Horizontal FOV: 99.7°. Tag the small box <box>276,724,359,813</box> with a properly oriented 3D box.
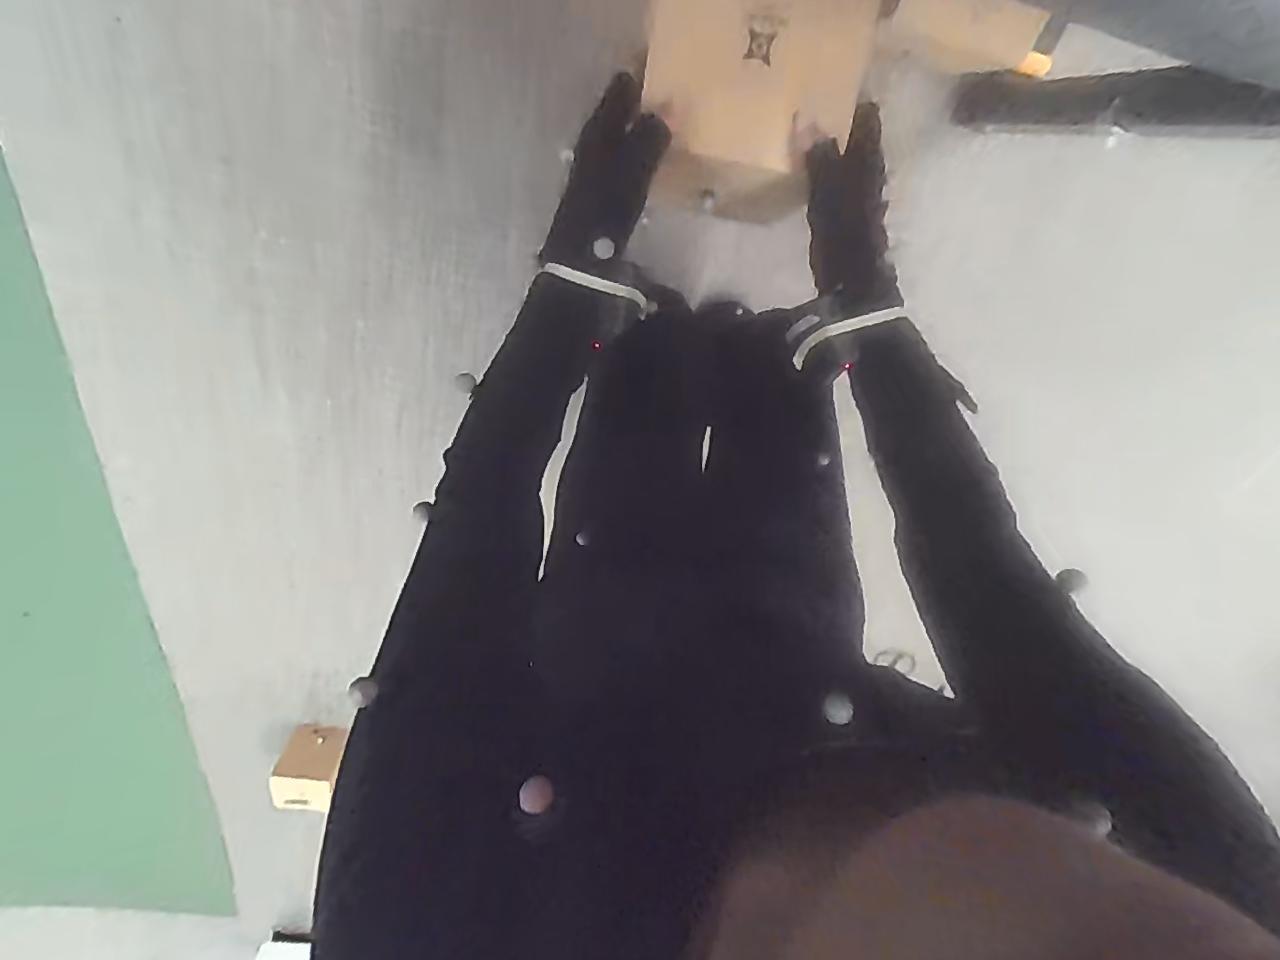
[{"bbox_3d":[-0.982,0.885,1.661,0.168,0.176,0.179,11,121,-9],"label":"small box"}]
